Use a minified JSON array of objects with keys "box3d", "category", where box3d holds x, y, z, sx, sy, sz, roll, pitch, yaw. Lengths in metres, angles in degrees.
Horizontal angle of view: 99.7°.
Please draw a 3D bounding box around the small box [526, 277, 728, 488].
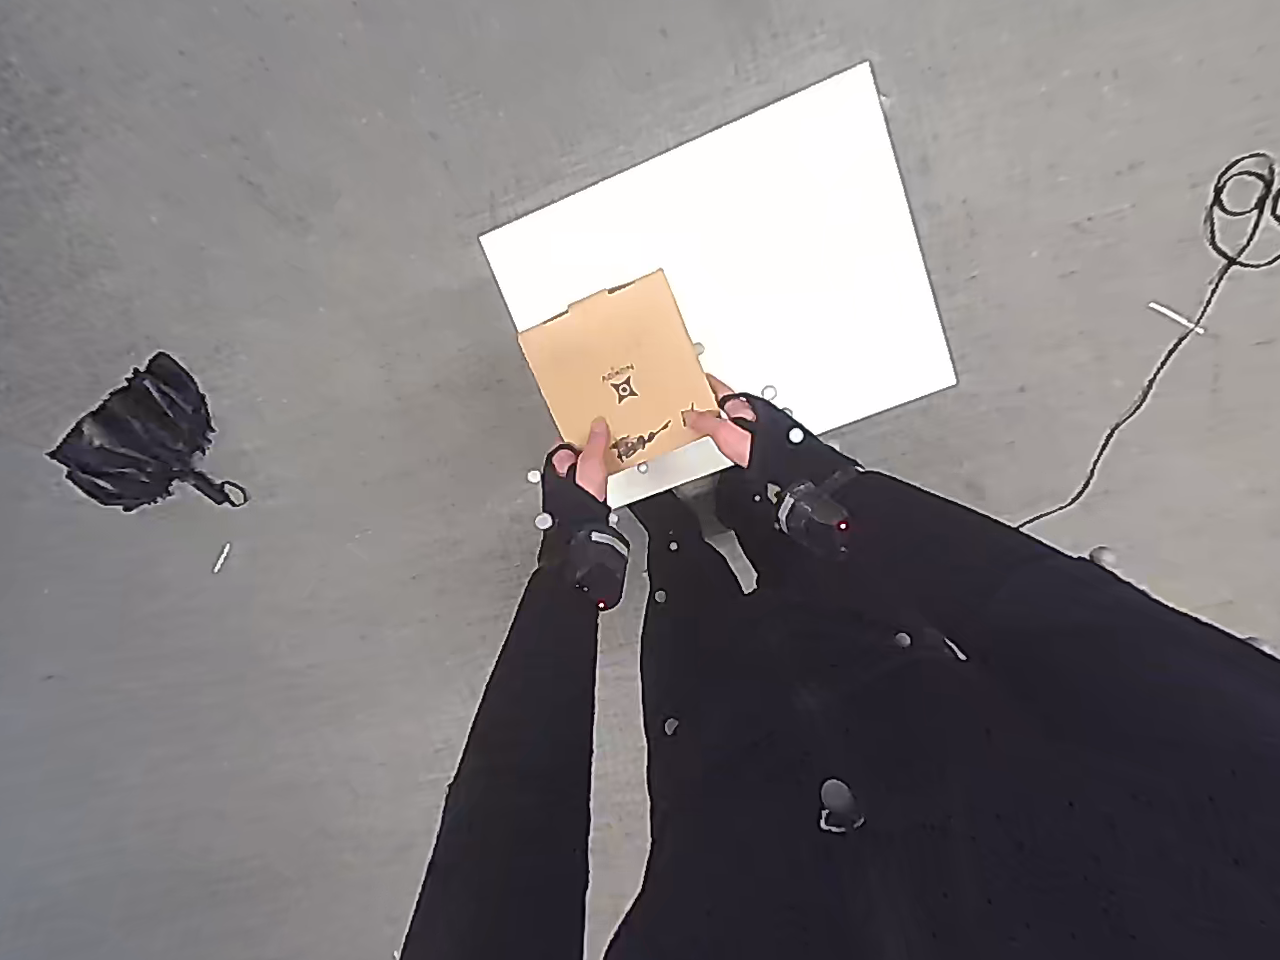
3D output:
[{"box3d":[-0.009,-0.112,0.641,0.168,0.176,0.179,-22,100,8],"category":"small box"}]
